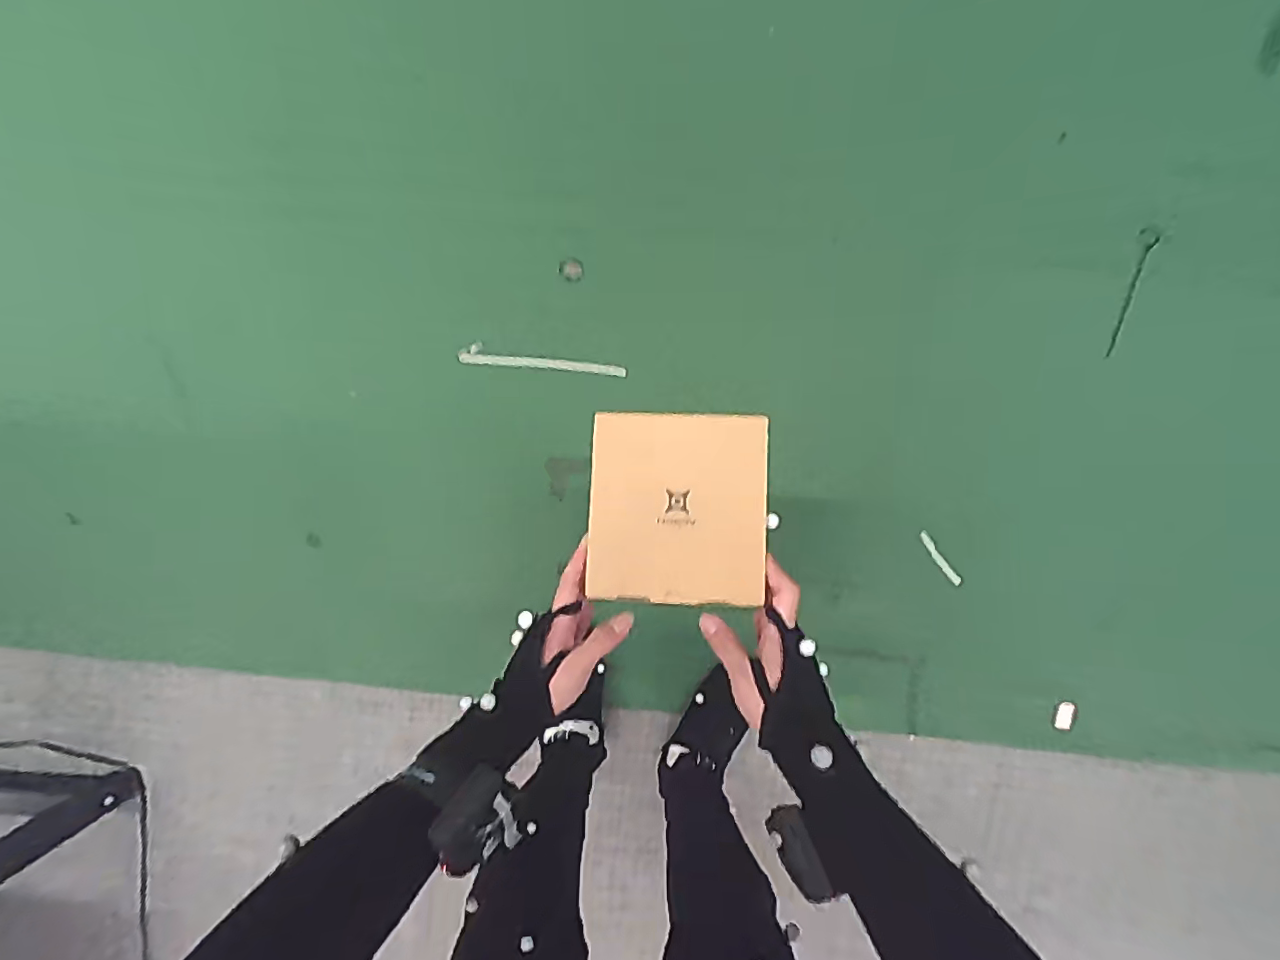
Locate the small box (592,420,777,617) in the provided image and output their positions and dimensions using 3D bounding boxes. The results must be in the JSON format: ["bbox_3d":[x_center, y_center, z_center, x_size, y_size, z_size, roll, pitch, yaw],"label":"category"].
[{"bbox_3d":[0.046,0.040,0.568,0.168,0.176,0.179,1,85,5],"label":"small box"}]
